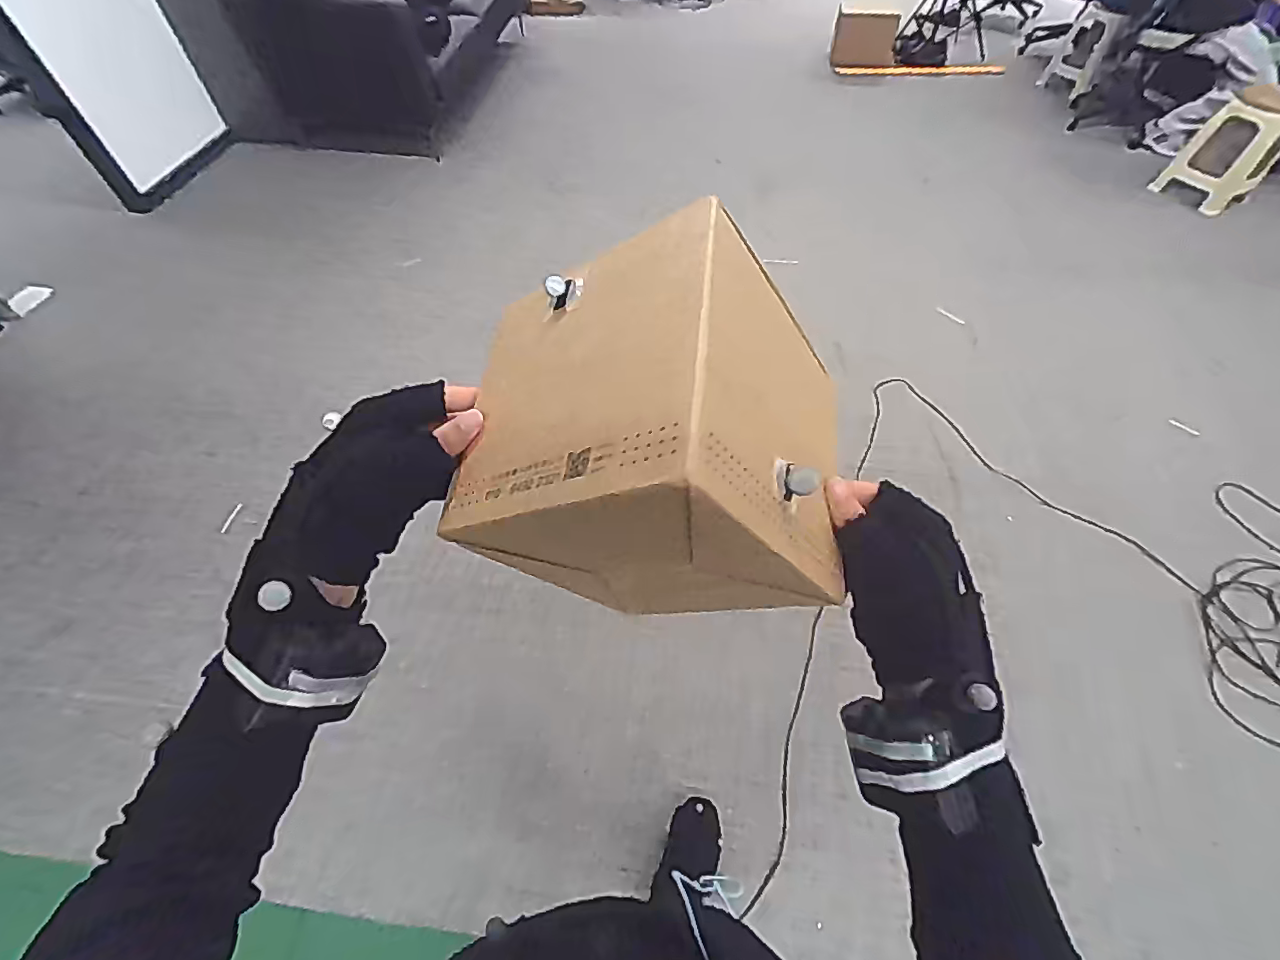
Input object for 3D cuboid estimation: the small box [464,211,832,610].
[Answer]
[{"bbox_3d":[0.017,-0.020,0.353,0.168,0.179,0.176,-14,55,34],"label":"small box"}]
